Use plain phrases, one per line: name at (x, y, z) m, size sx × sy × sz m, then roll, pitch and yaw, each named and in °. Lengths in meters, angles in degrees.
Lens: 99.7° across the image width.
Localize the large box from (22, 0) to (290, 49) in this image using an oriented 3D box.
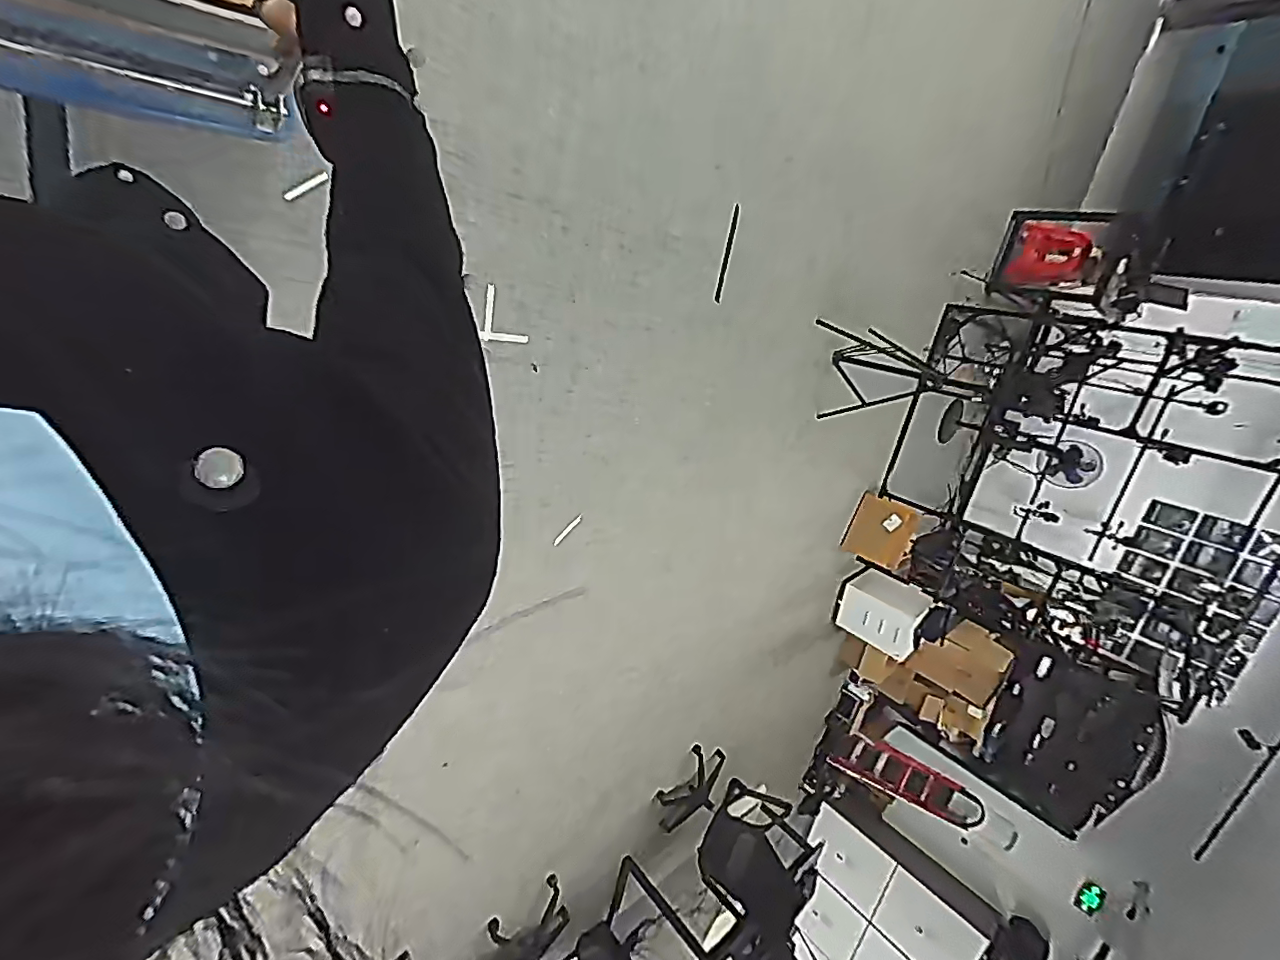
large box at (-0.716, -0.782, 0.651) m, size 0.408 × 0.320 × 0.320 m, roll -17°, pitch 123°, yaw -40°
